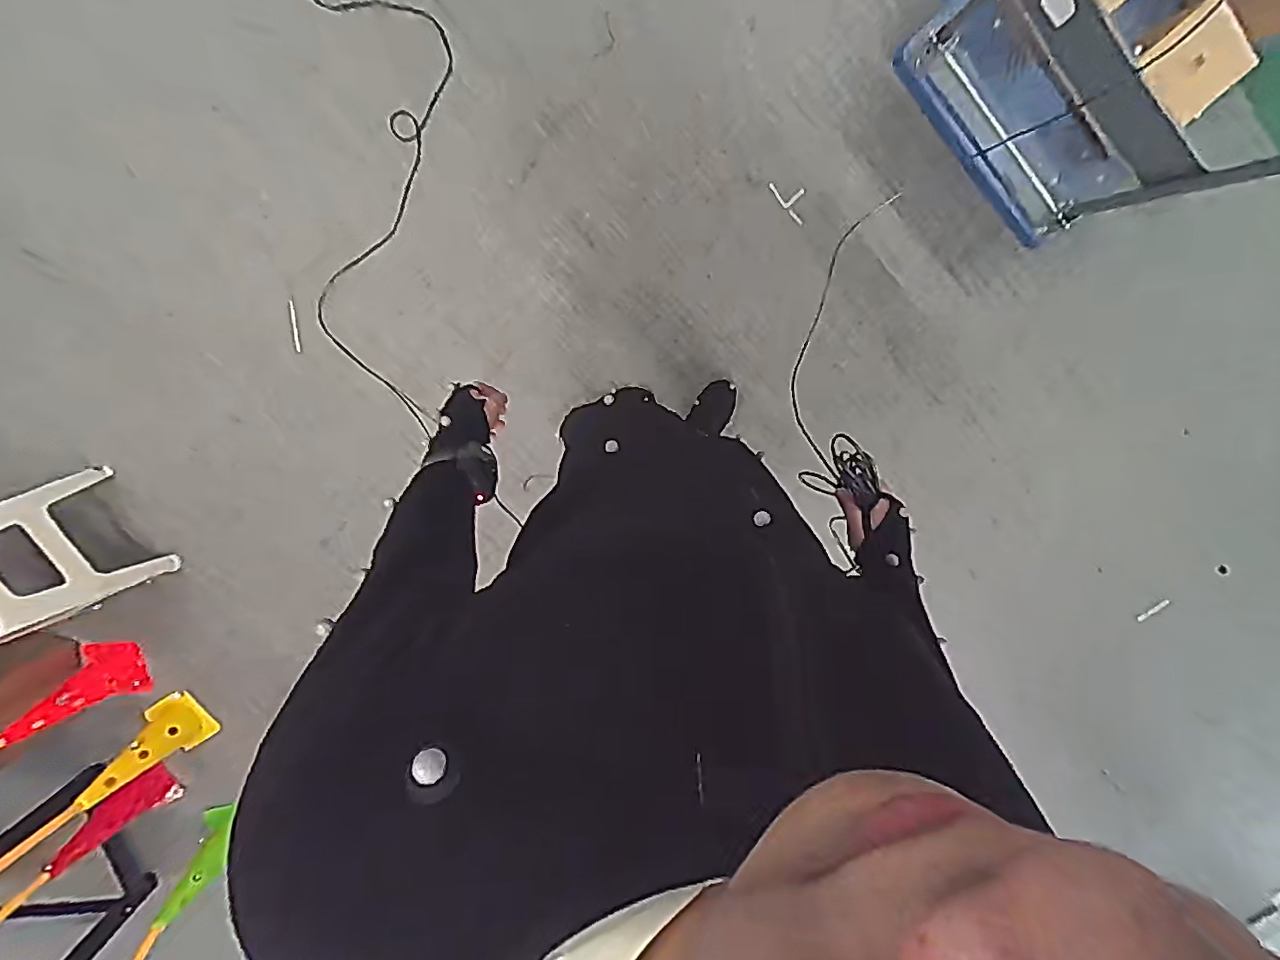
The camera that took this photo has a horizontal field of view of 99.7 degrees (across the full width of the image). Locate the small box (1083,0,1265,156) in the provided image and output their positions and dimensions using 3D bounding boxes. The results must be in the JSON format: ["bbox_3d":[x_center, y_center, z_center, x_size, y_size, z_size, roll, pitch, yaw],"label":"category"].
[{"bbox_3d":[1.087,-0.818,1.116,0.179,0.176,0.168,-42,100,12],"label":"small box"}]
